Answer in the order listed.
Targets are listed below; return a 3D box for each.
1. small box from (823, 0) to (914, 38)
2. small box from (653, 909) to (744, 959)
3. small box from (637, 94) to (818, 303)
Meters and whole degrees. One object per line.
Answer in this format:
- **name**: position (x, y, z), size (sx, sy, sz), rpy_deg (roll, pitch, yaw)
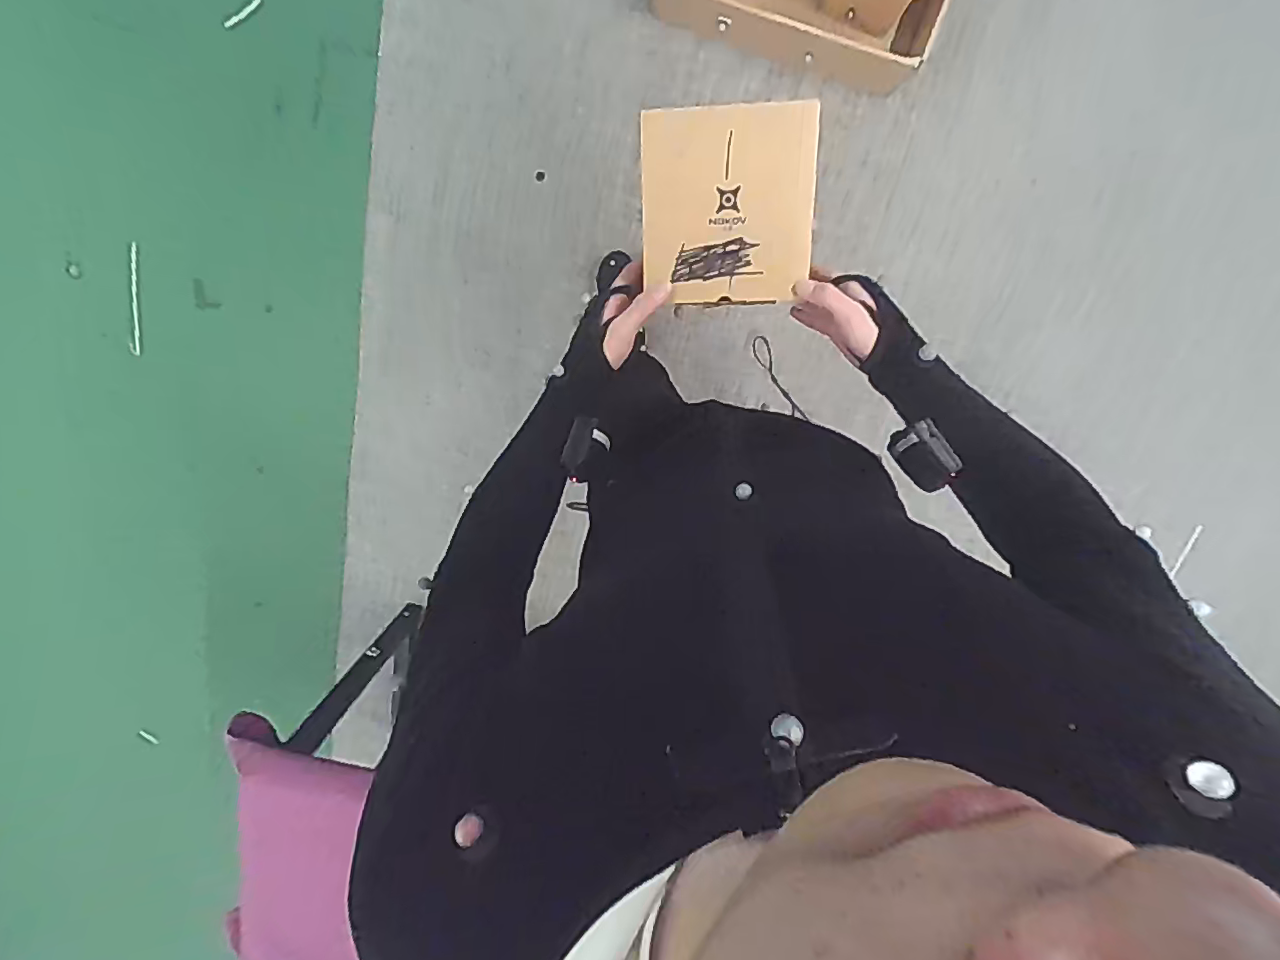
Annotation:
- **small box**: position (0.506, -1.087, 1.130), size (0.168, 0.176, 0.179), rpy_deg (19, 107, -2)
- **small box**: position (0.114, 1.015, 1.079), size (0.168, 0.176, 0.179), rpy_deg (11, 107, 0)
- **small box**: position (0.087, -0.287, 0.589), size (0.168, 0.176, 0.179), rpy_deg (1, 107, 5)
